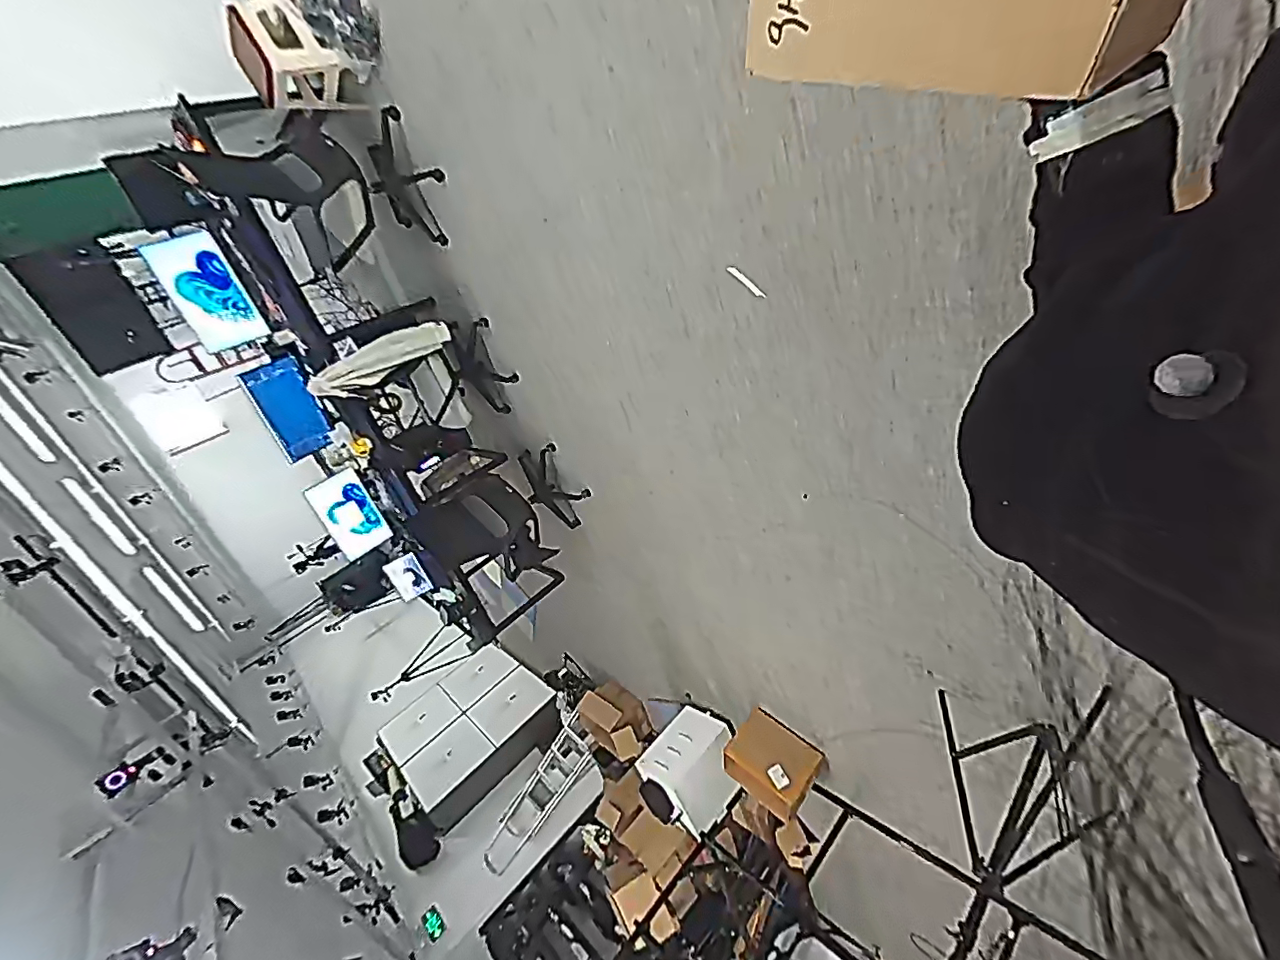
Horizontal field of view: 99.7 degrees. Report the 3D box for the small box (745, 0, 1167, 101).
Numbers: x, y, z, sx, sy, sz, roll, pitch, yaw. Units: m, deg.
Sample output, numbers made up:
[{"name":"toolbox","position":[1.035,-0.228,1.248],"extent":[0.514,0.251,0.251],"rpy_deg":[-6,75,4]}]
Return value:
[{"name":"small box","position":[0.173,-0.302,0.253],"extent":[0.179,0.176,0.168],"rpy_deg":[32,146,31]}]
